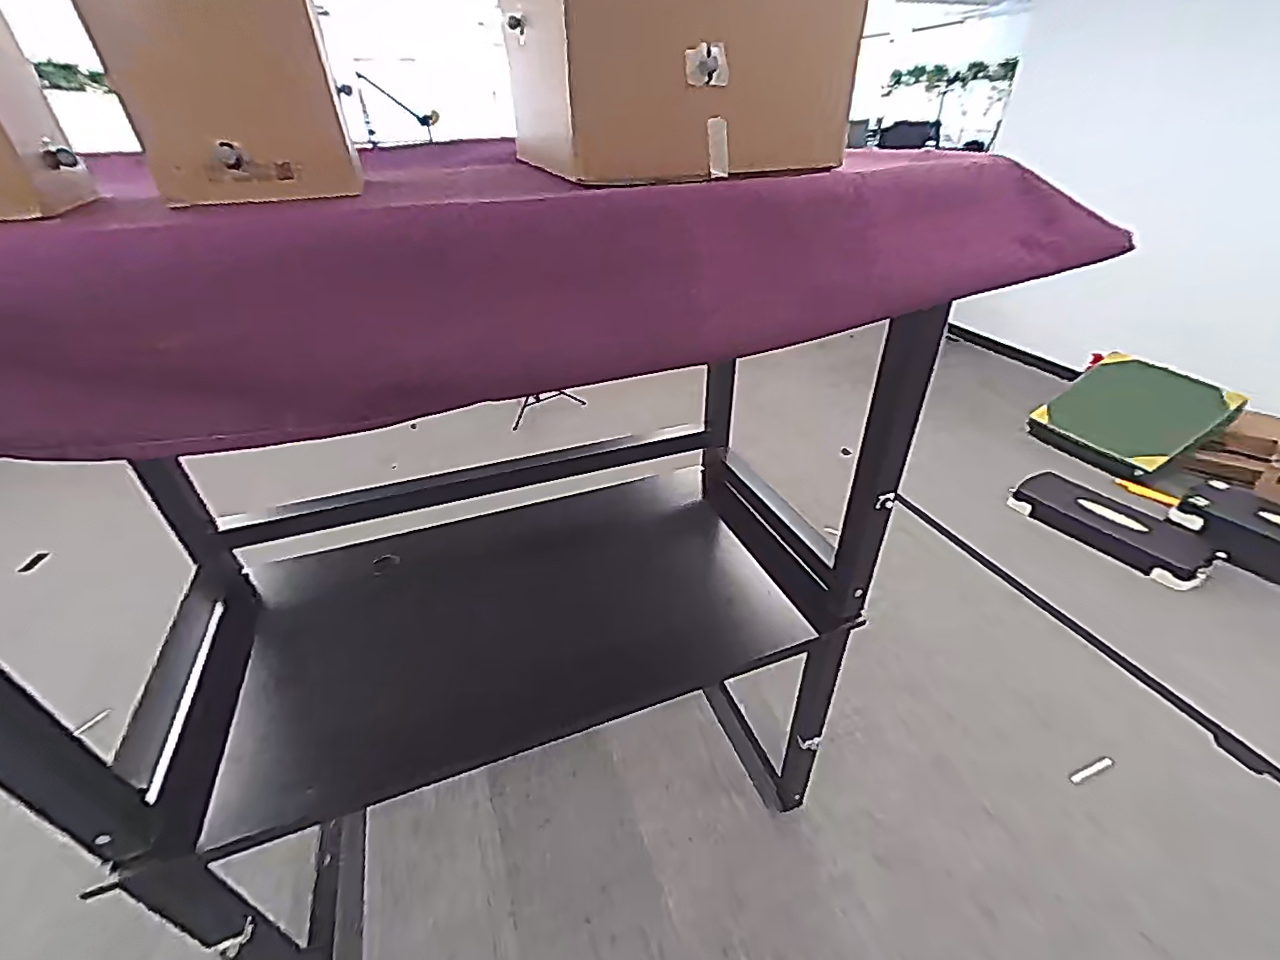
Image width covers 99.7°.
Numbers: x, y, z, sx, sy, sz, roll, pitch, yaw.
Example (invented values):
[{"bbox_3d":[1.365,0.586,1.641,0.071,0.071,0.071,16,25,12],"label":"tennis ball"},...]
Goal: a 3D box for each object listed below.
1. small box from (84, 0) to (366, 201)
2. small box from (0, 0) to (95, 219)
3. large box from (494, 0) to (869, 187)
[{"bbox_3d":[-0.383,-0.378,0.531,0.168,0.176,0.179,-14,37,-17],"label":"small box"},{"bbox_3d":[-0.597,-0.307,0.432,0.168,0.176,0.179,-19,37,-23],"label":"small box"},{"bbox_3d":[0.015,-0.540,0.633,0.320,0.320,0.408,-12,35,-16],"label":"large box"}]
